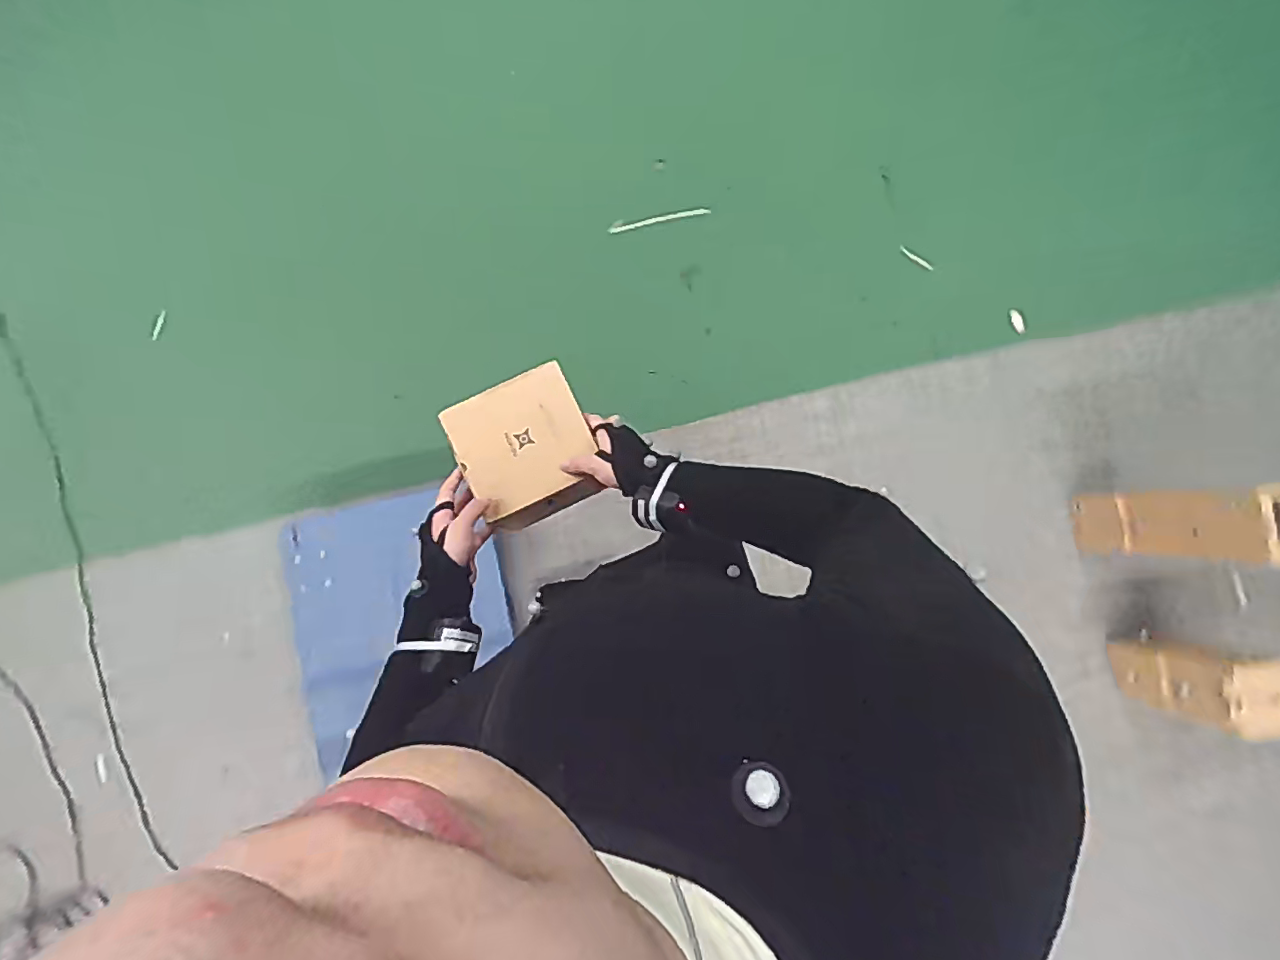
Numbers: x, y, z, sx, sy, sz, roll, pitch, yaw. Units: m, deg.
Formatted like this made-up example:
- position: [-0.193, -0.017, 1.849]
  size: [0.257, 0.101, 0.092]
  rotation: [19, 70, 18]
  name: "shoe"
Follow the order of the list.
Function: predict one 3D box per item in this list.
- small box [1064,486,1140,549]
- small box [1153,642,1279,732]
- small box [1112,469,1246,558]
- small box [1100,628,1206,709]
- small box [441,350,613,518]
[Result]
- position: [1.383, 0.106, 1.575]
  size: [0.179, 0.176, 0.168]
  rotation: [-8, 87, -2]
  name: "small box"
- position: [1.483, 0.521, 1.382]
  size: [0.179, 0.176, 0.168]
  rotation: [-6, 85, -1]
  name: "small box"
- position: [1.402, 0.090, 1.421]
  size: [0.168, 0.176, 0.179]
  rotation: [24, 86, 3]
  name: "small box"
- position: [1.471, 0.534, 1.547]
  size: [0.179, 0.176, 0.168]
  rotation: [-11, 86, -1]
  name: "small box"
- position: [-0.149, -0.054, 0.775]
  size: [0.179, 0.176, 0.168]
  rotation: [-24, 83, -3]
  name: "small box"
